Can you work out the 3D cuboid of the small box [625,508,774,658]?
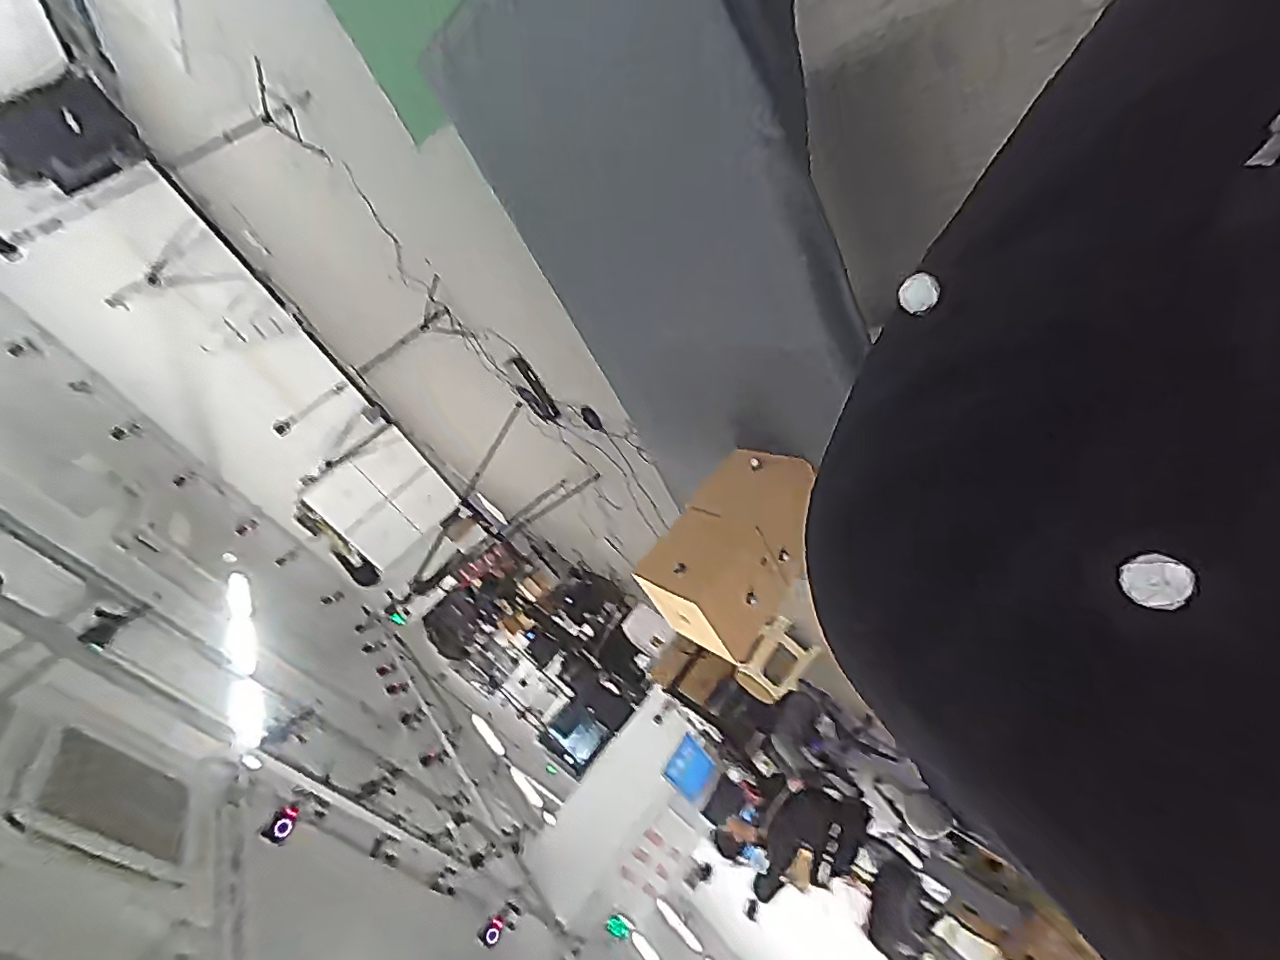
[{"bbox_3d":[0.114,0.171,0.953,0.179,0.176,0.168,15,144,51],"label":"small box"}]

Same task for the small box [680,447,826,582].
[{"bbox_3d":[0.214,0.055,1.015,0.179,0.176,0.168,15,145,52],"label":"small box"}]
